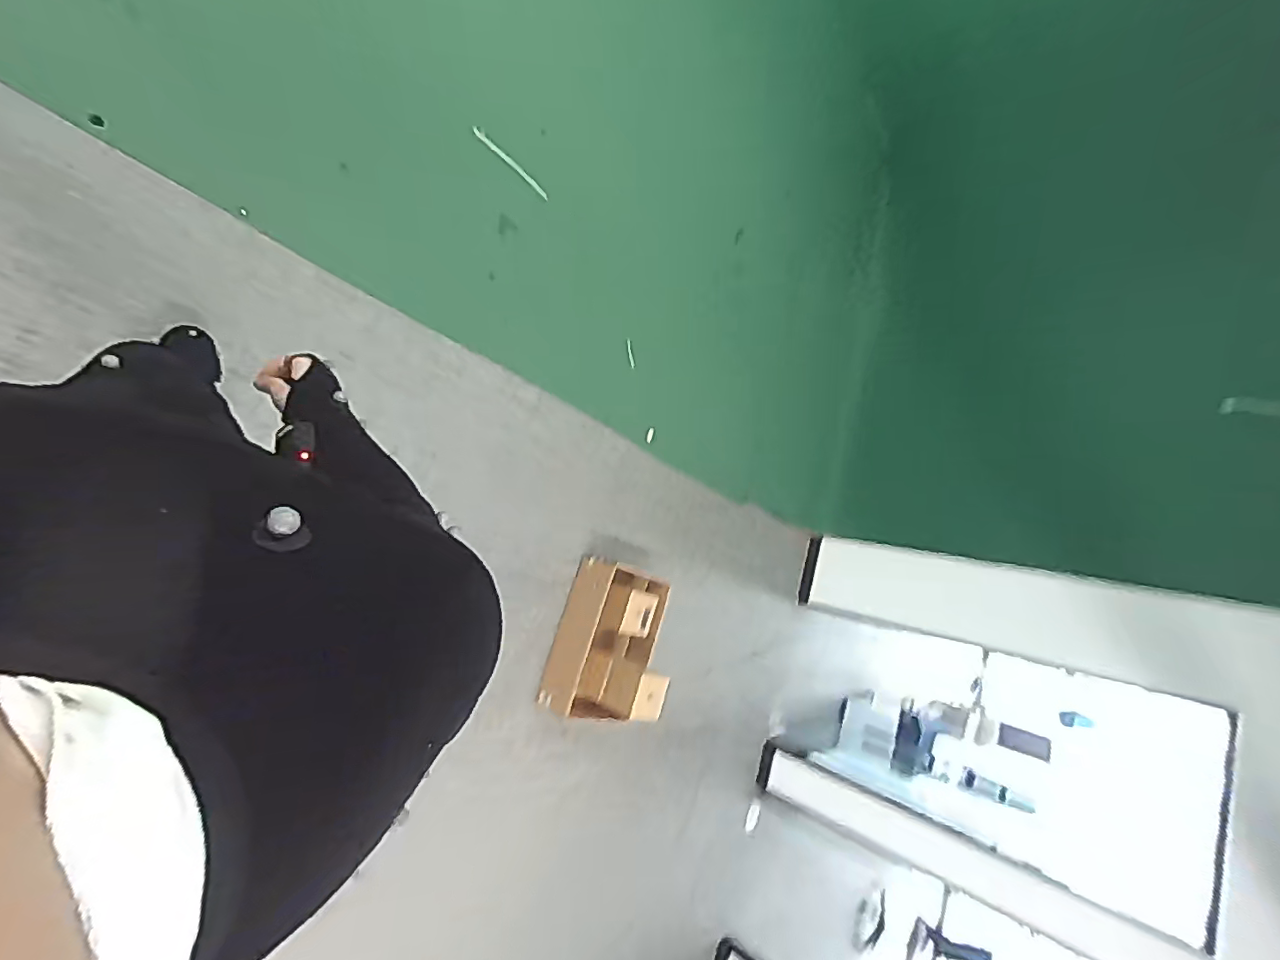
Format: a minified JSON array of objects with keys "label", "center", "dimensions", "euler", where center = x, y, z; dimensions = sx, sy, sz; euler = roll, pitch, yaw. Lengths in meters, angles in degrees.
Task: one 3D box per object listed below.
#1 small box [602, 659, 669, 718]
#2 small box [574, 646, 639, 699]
[{"label":"small box","center":[-0.020,0.808,2.098],"dimensions":[0.179,0.176,0.168],"euler":[30,73,-45]},{"label":"small box","center":[-0.141,0.791,2.210],"dimensions":[0.179,0.176,0.168],"euler":[29,74,-45]}]
